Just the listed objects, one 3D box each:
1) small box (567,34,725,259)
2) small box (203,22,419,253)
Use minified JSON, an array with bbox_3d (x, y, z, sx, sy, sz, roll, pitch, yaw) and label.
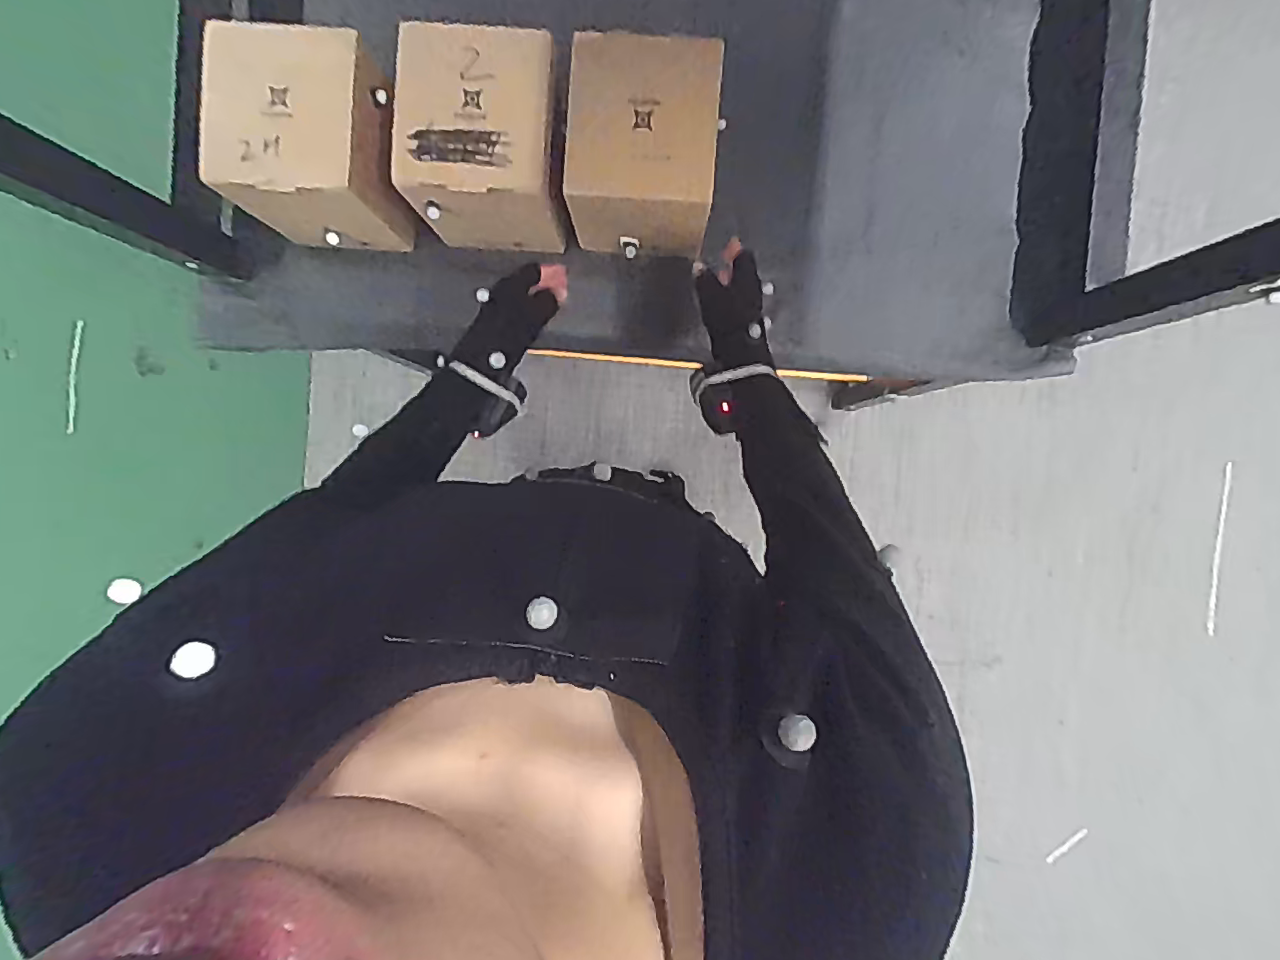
[{"bbox_3d":[0.007,-0.394,0.665,0.168,0.176,0.179,3,93,2],"label":"small box"},{"bbox_3d":[-0.386,-0.404,0.663,0.168,0.176,0.179,3,92,0],"label":"small box"}]
